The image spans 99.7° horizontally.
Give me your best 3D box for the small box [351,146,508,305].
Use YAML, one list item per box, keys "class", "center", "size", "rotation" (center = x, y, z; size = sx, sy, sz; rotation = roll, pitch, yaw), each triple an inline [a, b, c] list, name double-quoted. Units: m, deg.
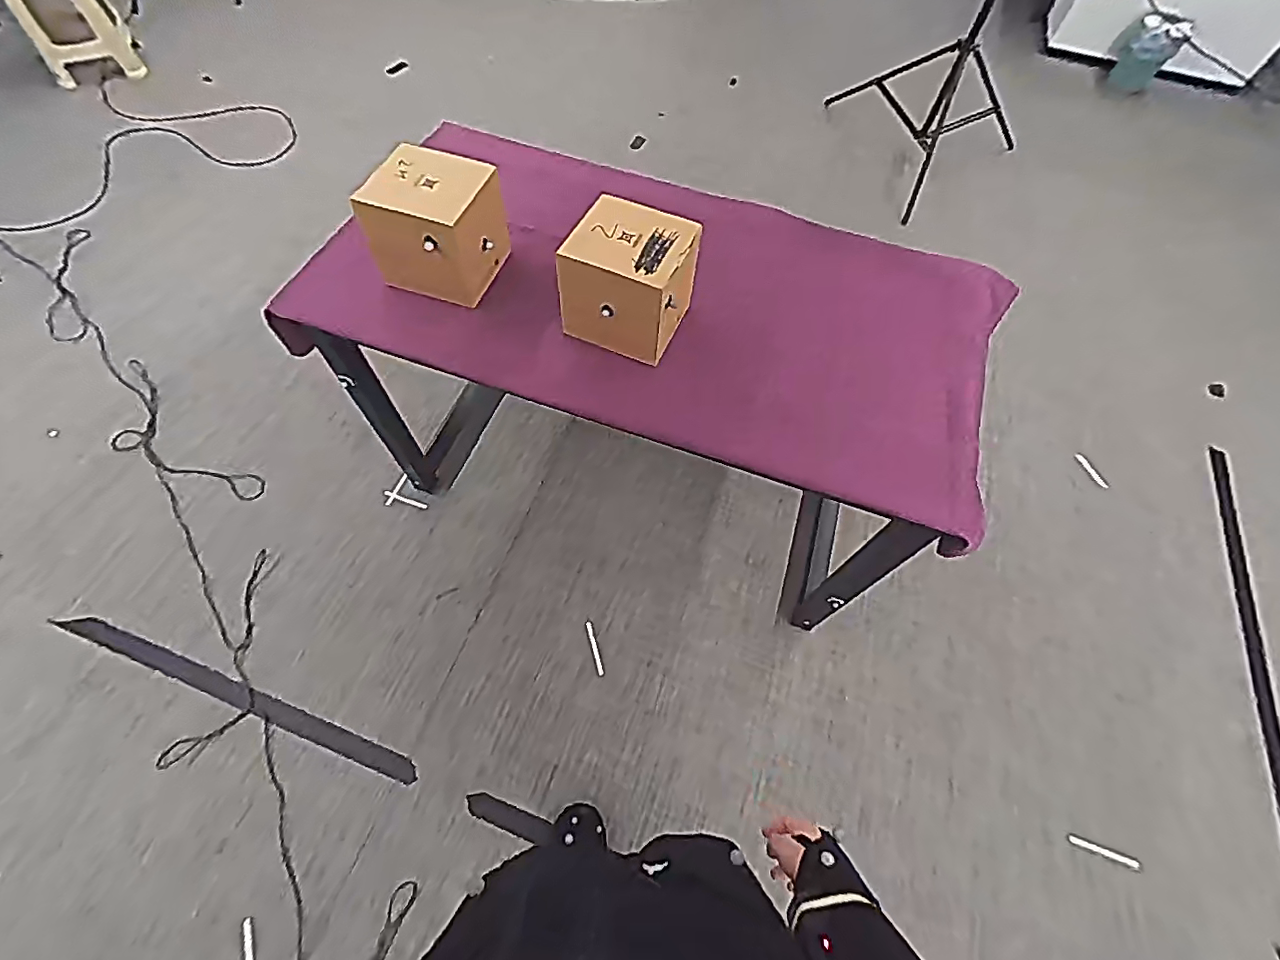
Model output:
- class: "small box"
  center: [-0.345, -0.429, 0.930]
  size: [0.179, 0.176, 0.168]
  rotation: [16, 60, 5]
